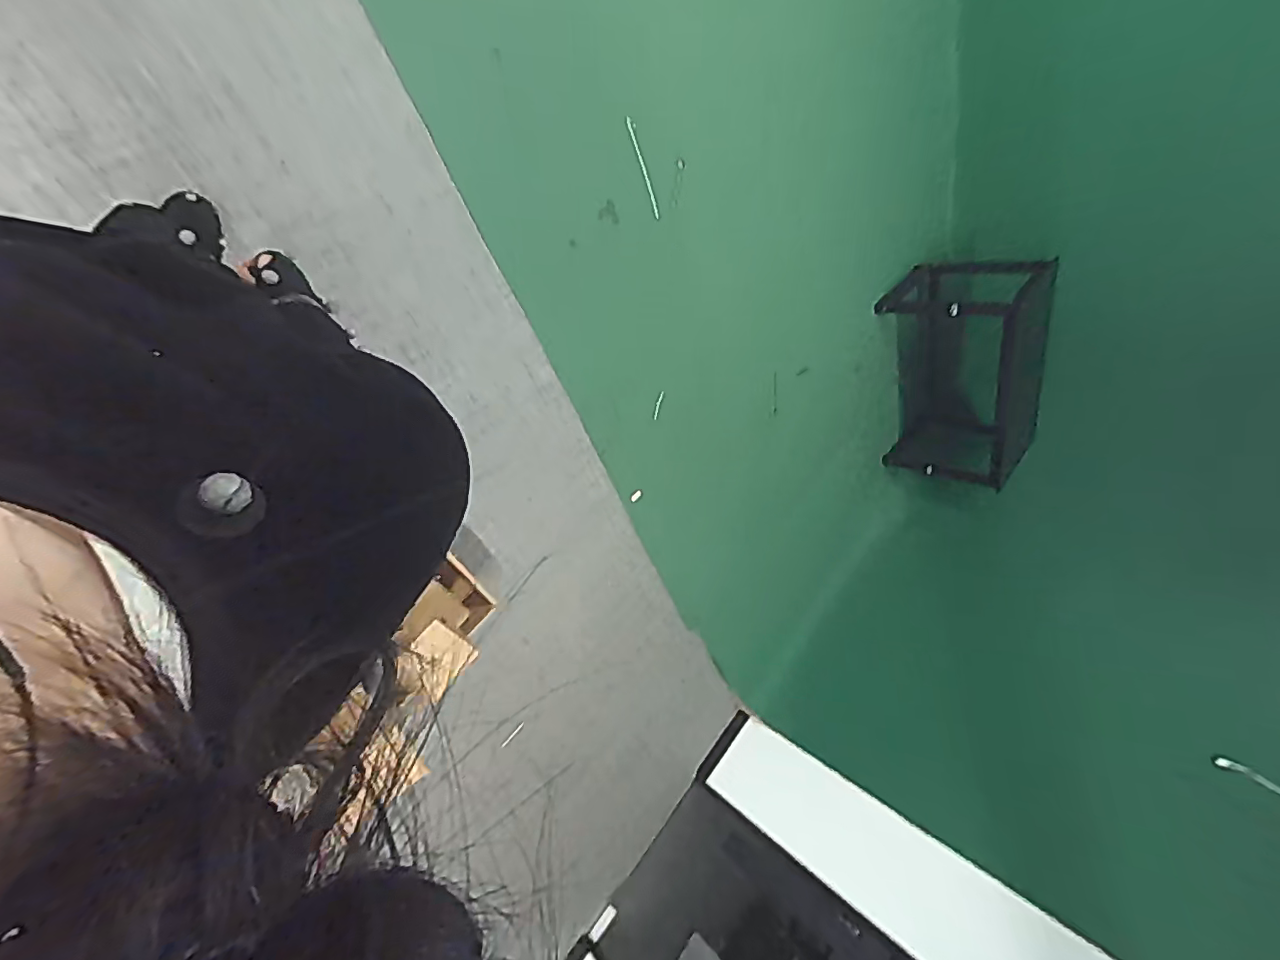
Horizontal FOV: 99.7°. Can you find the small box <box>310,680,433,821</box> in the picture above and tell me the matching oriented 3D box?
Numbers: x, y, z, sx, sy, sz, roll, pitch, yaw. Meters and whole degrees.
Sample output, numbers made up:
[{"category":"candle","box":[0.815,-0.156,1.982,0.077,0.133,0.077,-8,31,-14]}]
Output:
[{"category":"small box","box":[-0.593,0.583,1.185,0.179,0.176,0.168,-35,125,-30]}]

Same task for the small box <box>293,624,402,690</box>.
[{"category":"small box","box":[-0.785,0.516,1.443,0.179,0.176,0.168,-51,131,-18]}]

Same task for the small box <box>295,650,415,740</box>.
[{"category":"small box","box":[-0.691,0.545,1.310,0.168,0.176,0.179,-48,131,-21]}]

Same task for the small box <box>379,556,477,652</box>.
[{"category":"small box","box":[-0.608,0.348,1.544,0.179,0.176,0.168,-46,129,-18]}]
